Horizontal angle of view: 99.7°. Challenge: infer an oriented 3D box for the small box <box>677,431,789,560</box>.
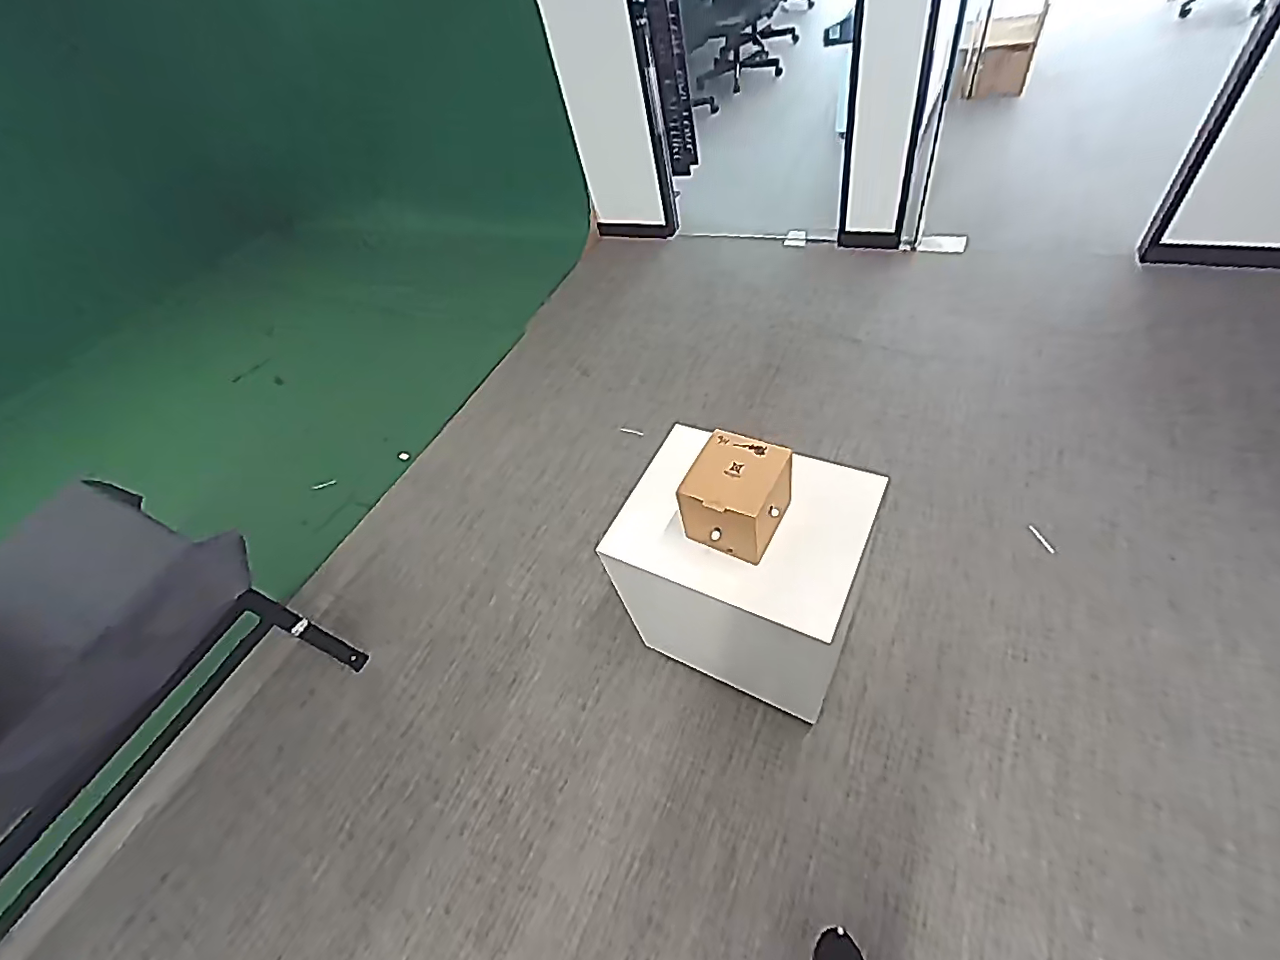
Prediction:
[{"bbox_3d":[0.195,0.034,1.093,0.168,0.176,0.179,17,58,26],"label":"small box"}]
